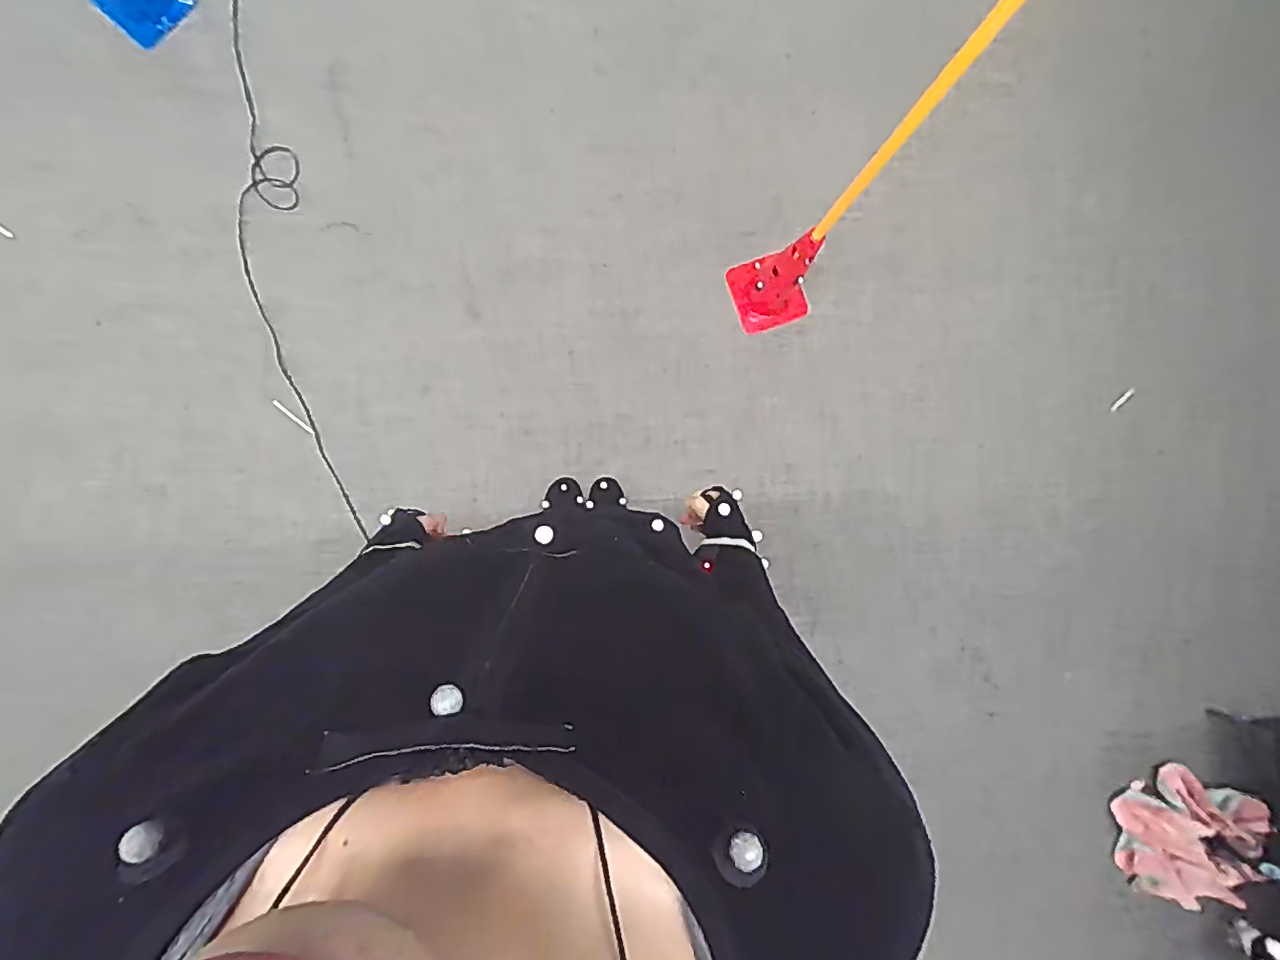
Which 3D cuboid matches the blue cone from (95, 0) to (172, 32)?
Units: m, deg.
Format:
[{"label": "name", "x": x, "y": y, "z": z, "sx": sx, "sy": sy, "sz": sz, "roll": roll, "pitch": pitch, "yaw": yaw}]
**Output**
[{"label": "blue cone", "x": -1.287, "y": -1.261, "z": 1.221, "sx": 0.192, "sy": 0.380, "sz": 0.193, "roll": 41, "pitch": 89, "yaw": -5}]
